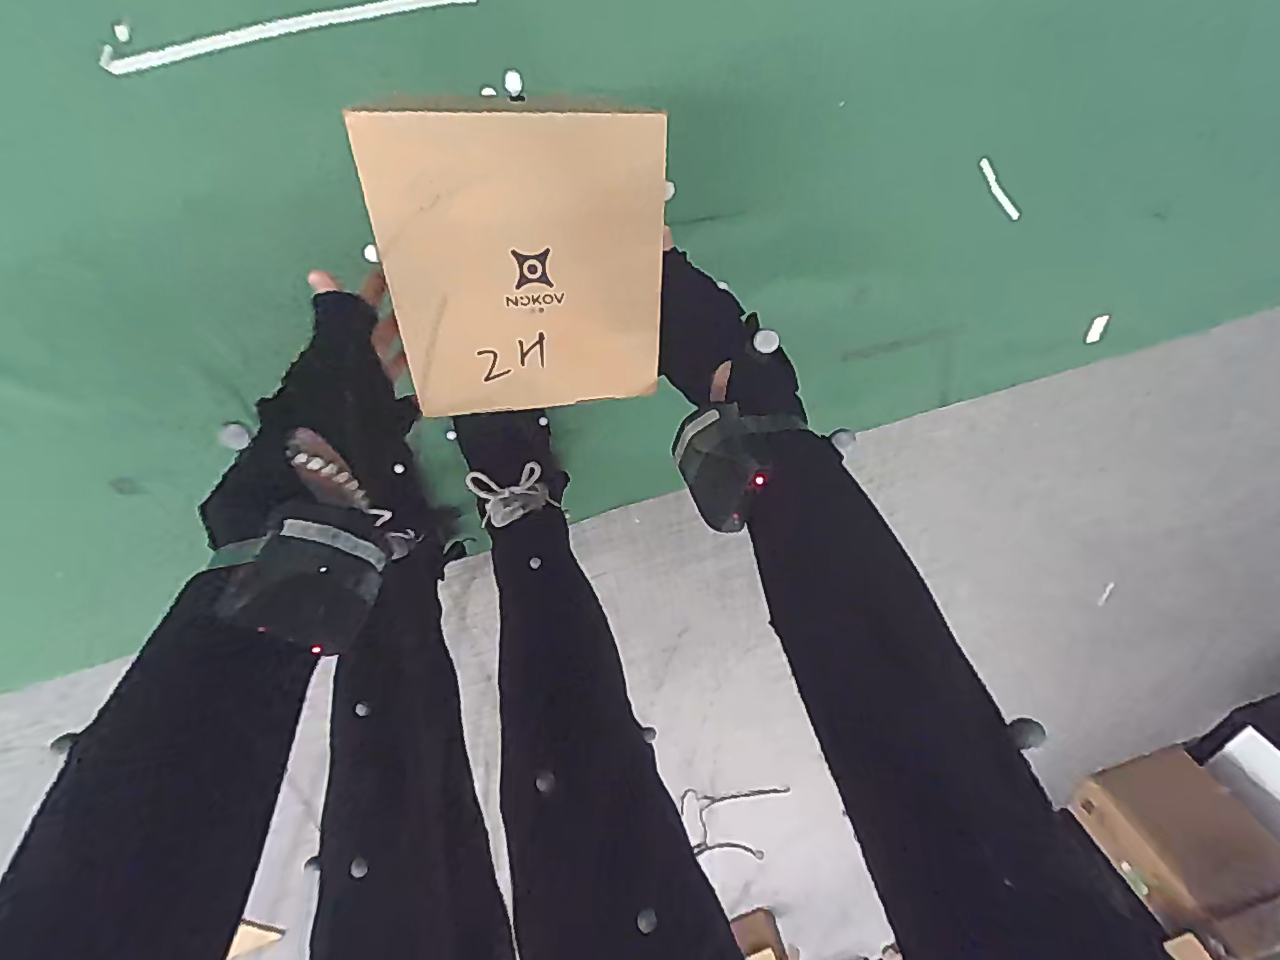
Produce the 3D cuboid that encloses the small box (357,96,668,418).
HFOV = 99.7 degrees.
[{"bbox_3d":[-0.085,-0.169,0.392,0.168,0.176,0.179,-8,129,-12],"label":"small box"}]
